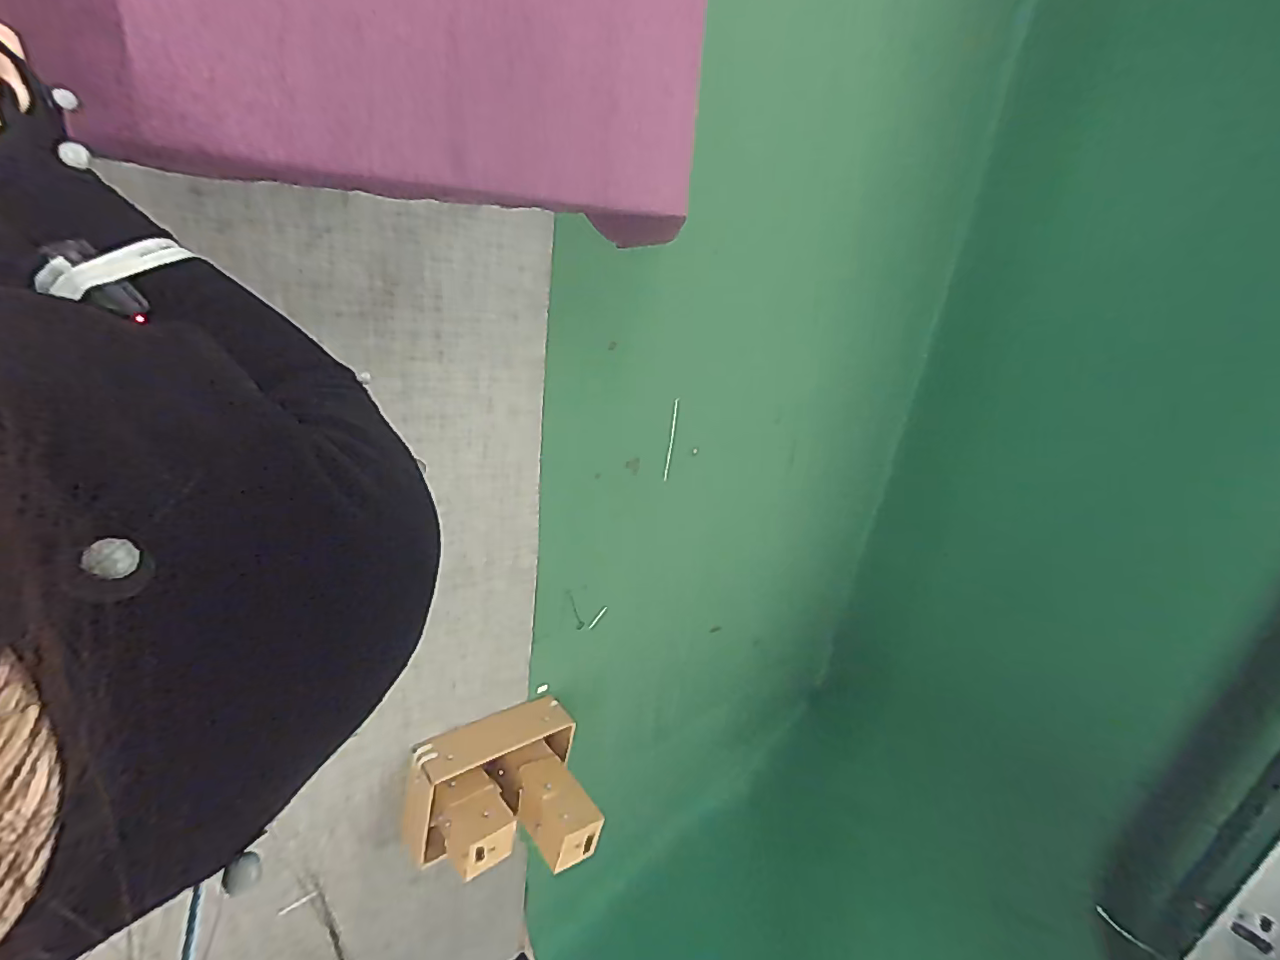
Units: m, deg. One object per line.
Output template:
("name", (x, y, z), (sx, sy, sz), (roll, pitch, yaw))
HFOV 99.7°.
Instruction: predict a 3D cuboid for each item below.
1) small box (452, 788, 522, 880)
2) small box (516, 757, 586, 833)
("small box", (-0.541, 1.232, 1.897), (0.179, 0.176, 0.168), (-5, 113, -44))
("small box", (-0.344, 1.199, 2.077), (0.179, 0.176, 0.168), (12, 102, -44))
